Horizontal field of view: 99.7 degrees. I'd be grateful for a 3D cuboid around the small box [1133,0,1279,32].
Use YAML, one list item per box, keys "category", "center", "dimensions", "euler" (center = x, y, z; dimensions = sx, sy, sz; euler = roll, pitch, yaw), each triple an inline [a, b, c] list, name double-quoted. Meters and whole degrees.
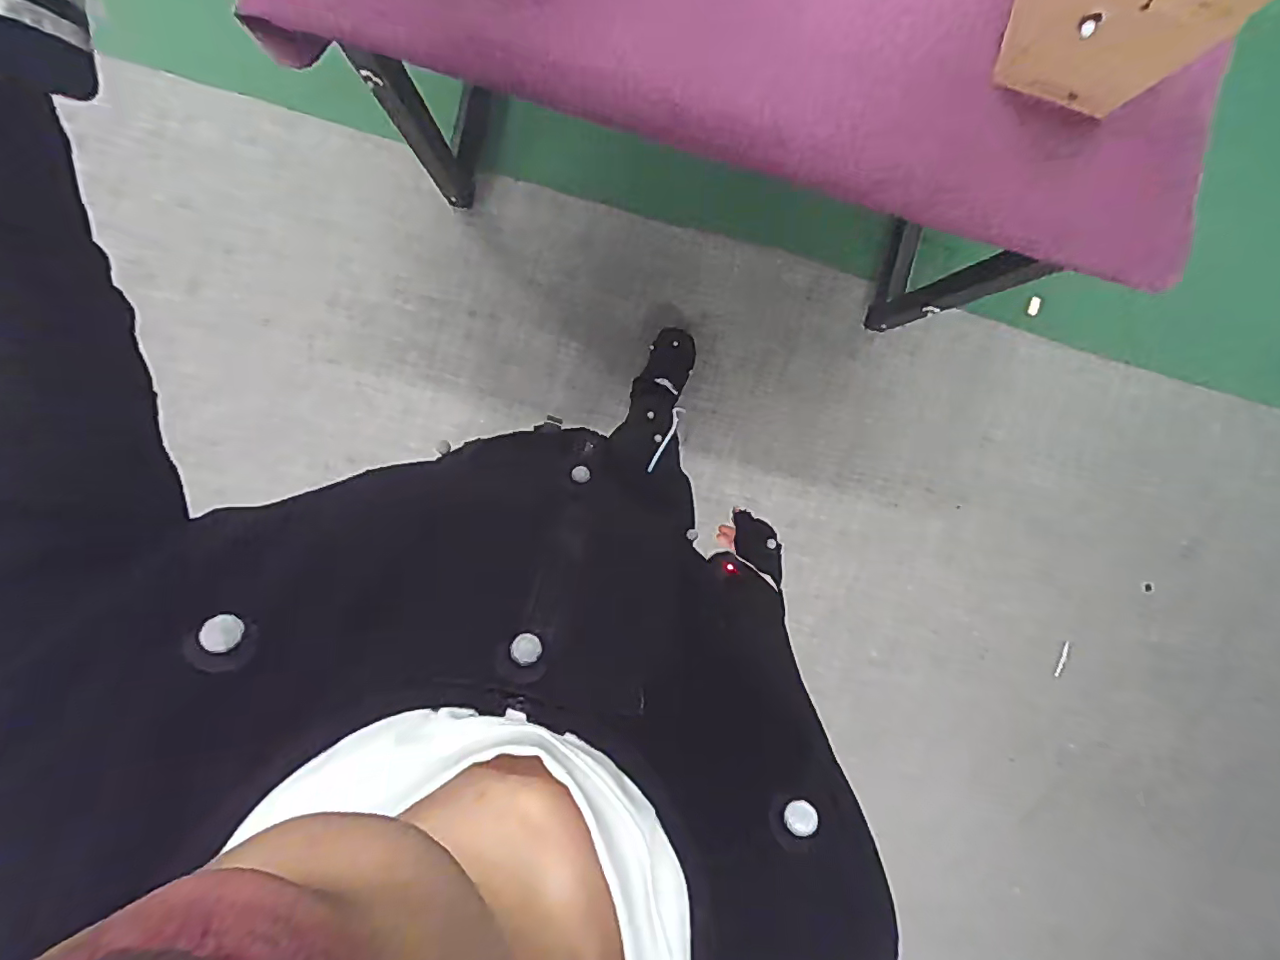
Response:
- category: "small box"
  center: [0.576, -0.564, 0.479]
  dimensions: [0.168, 0.176, 0.179]
  euler: [11, 94, -5]
